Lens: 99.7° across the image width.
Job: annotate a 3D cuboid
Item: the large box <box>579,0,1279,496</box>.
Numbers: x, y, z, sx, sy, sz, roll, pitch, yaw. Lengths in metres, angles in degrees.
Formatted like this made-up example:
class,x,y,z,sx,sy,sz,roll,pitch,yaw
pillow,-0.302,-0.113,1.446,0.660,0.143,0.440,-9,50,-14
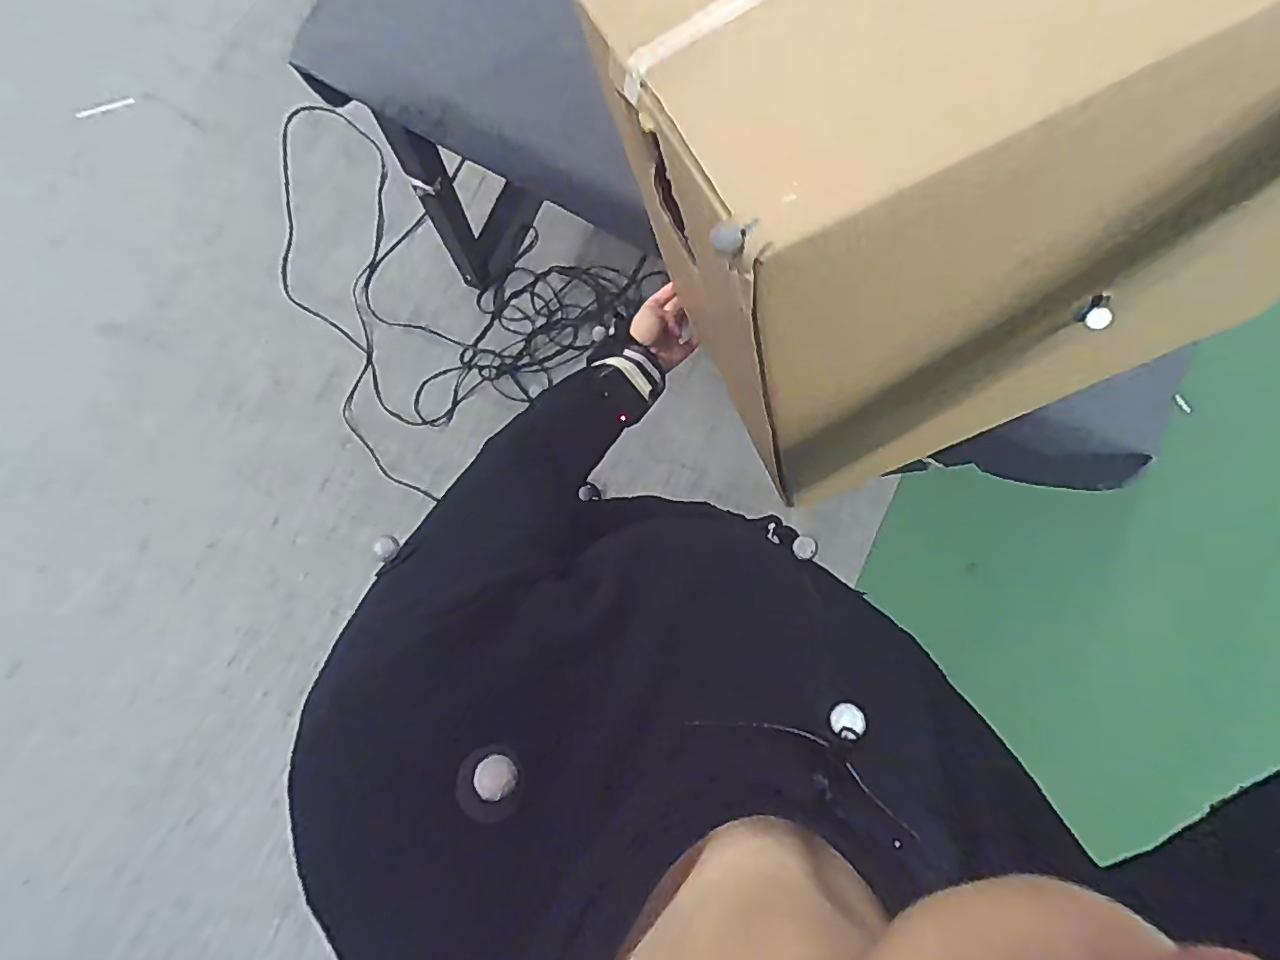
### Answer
class,x,y,z,sx,sy,sz,roll,pitch,yaw
large box,0.229,-0.244,0.408,0.408,0.320,0.320,-26,61,8
